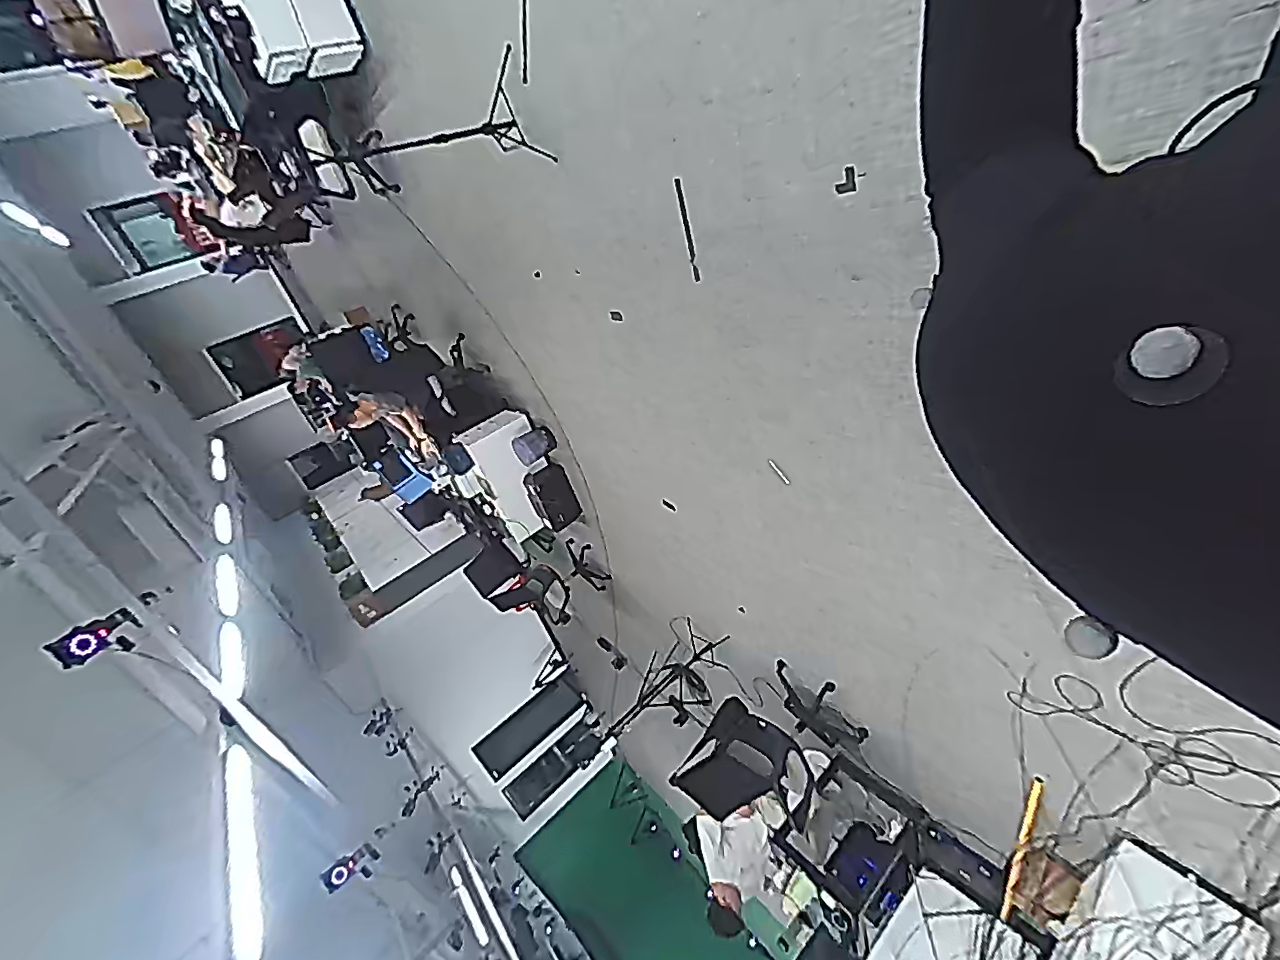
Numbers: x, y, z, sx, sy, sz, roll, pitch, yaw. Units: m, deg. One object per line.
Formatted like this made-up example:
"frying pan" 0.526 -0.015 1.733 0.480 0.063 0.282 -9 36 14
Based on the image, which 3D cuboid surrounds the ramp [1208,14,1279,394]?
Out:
"ramp" 1.272 -0.521 0.810 0.509 0.206 0.991 17 135 50
